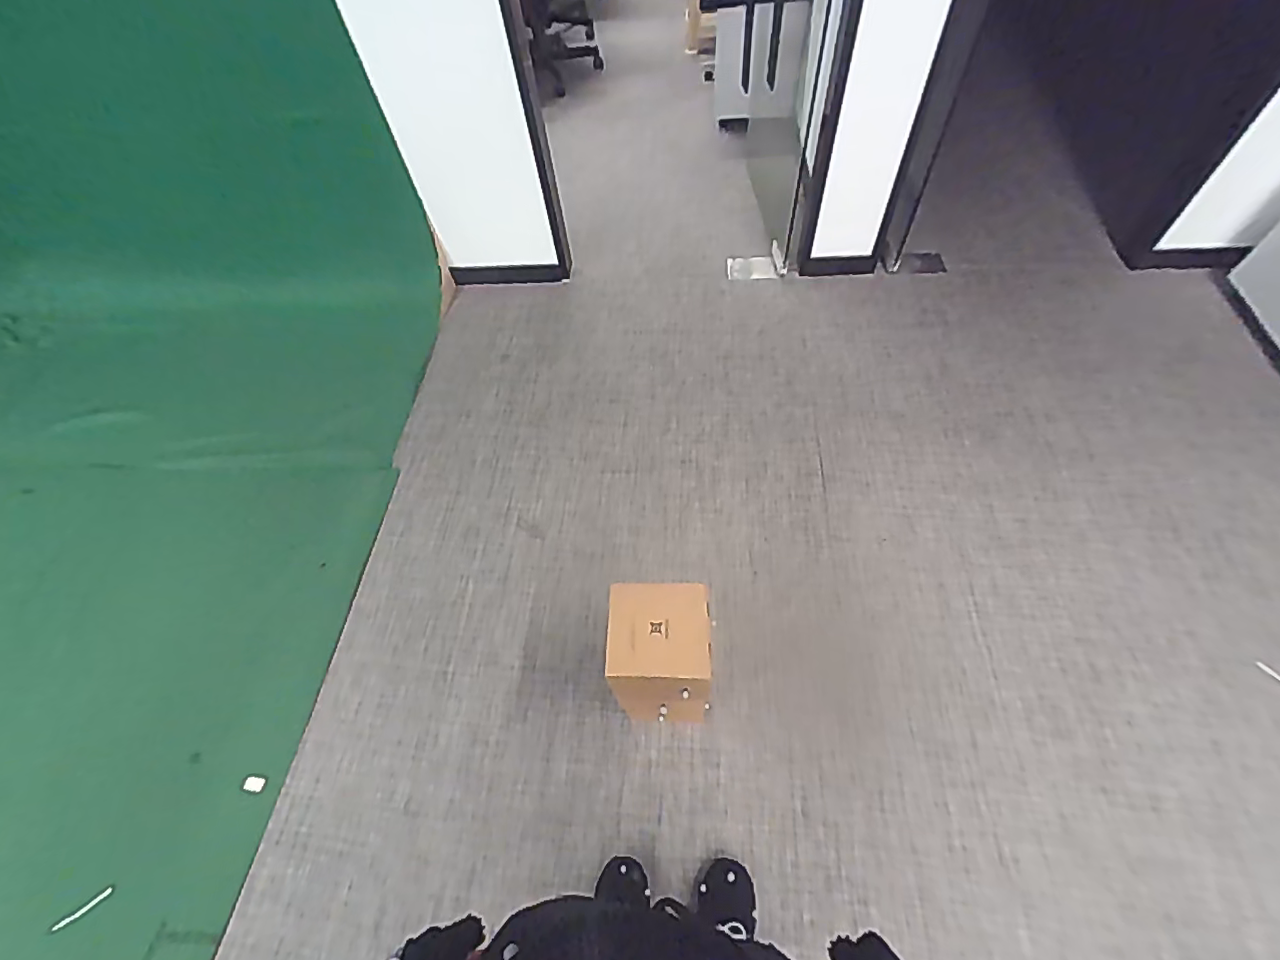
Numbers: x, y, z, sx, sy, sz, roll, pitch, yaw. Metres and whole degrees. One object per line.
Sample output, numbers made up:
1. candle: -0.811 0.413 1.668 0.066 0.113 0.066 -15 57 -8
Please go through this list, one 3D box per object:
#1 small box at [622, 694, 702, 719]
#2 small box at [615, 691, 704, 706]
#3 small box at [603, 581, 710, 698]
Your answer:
1. small box: 0.057 0.458 1.272 0.179 0.176 0.168 0 57 6
2. small box: 0.042 0.372 1.134 0.179 0.176 0.168 -1 57 4
3. small box: 0.035 0.295 0.990 0.179 0.176 0.168 -2 56 6
